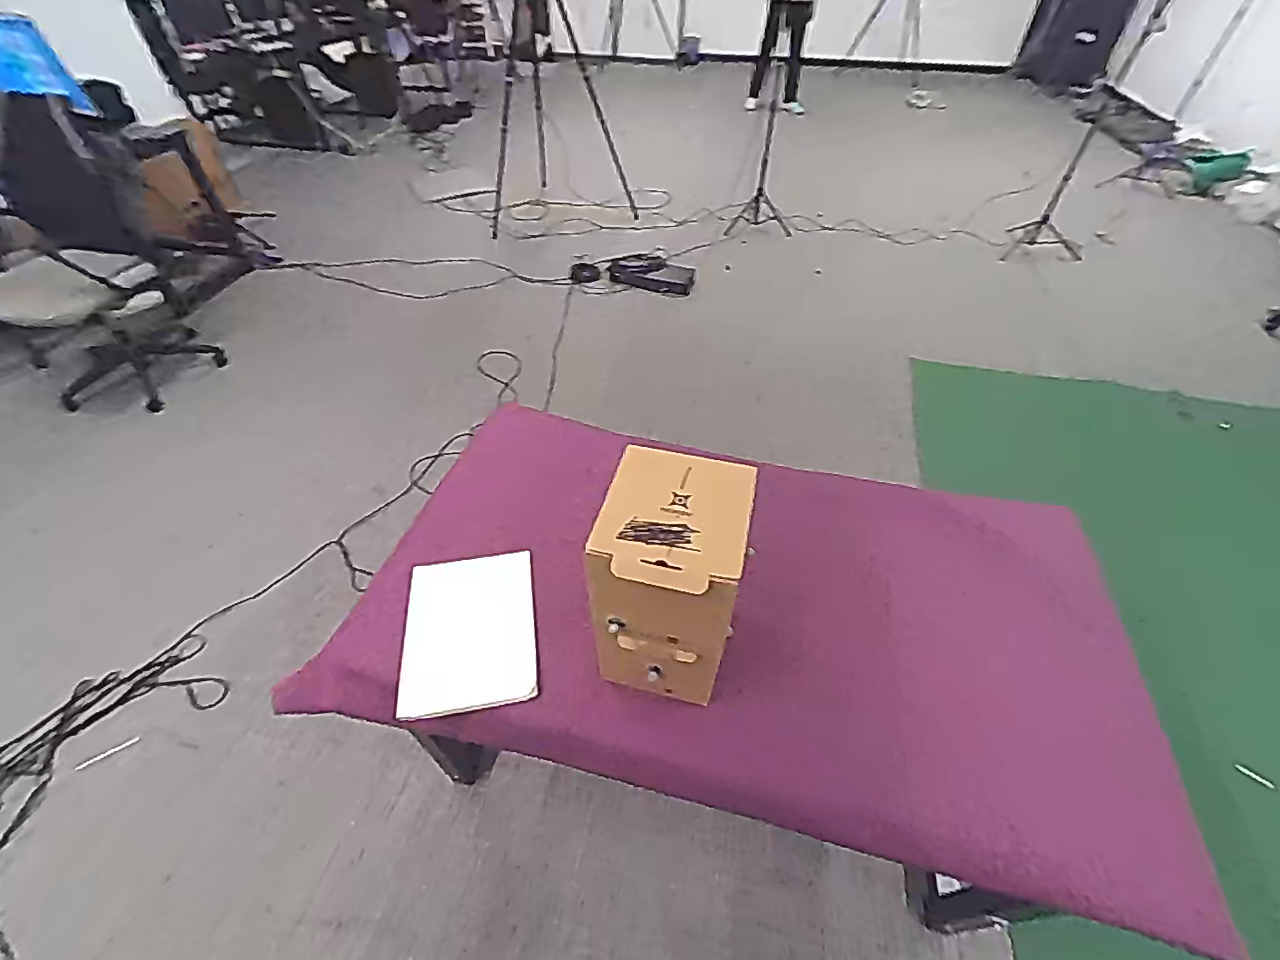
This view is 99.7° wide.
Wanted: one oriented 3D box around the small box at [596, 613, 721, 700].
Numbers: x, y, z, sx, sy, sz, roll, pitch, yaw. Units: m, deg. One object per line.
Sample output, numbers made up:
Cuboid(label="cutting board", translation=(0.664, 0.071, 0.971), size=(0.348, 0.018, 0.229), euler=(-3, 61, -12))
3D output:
Cuboid(label="small box", translation=(0.044, 0.199, 0.800), size=(0.168, 0.176, 0.179), euler=(11, 48, 10))

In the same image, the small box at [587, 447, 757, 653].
Cuboid(label="small box", translation=(0.043, 0.089, 0.676), size=(0.168, 0.176, 0.179), euler=(11, 46, 10))
